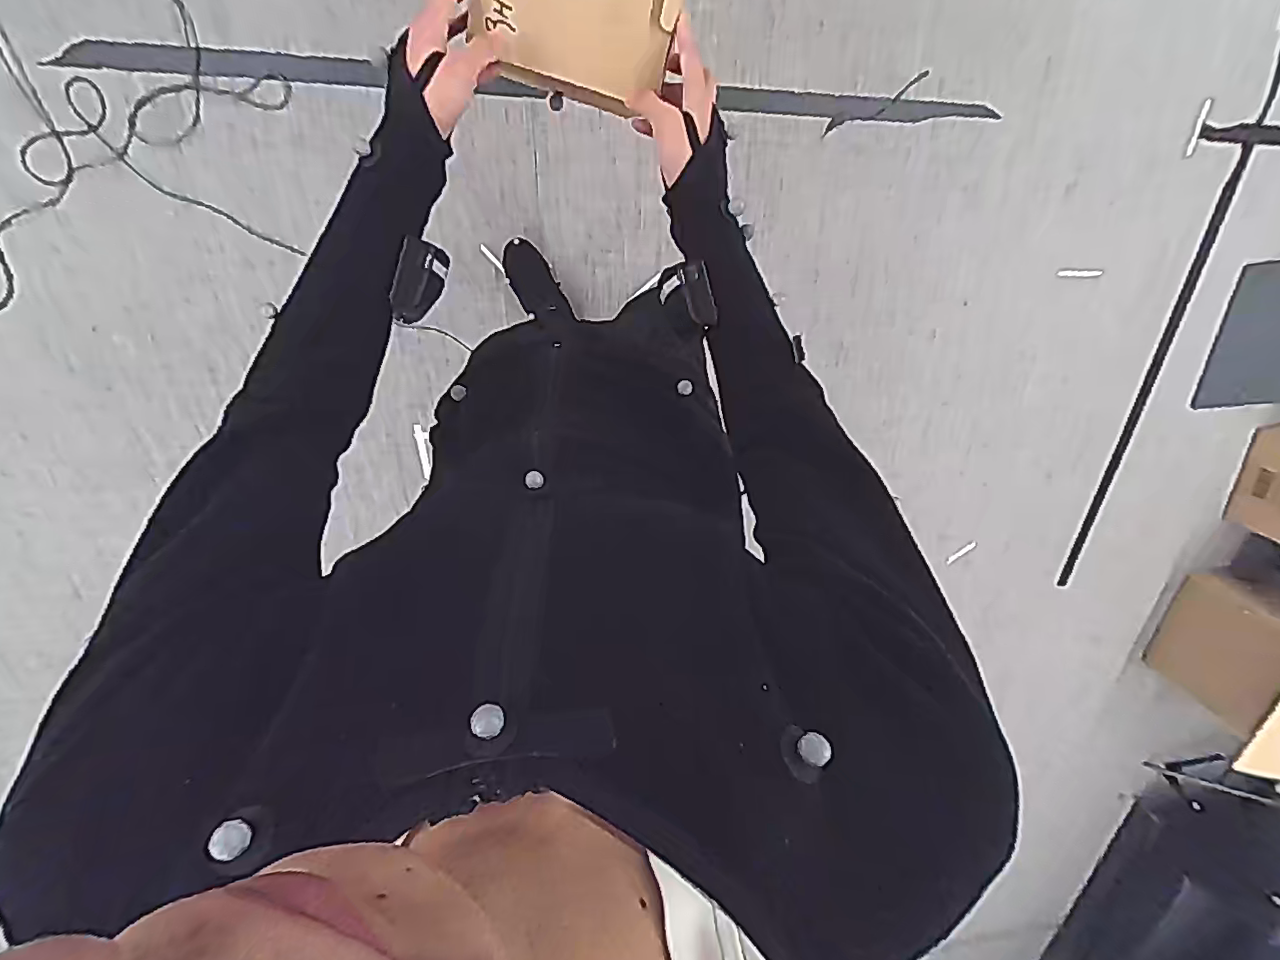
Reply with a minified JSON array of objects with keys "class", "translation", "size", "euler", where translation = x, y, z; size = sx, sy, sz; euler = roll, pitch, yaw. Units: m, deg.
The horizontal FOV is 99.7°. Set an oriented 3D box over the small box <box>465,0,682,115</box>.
[{"class":"small box","translation":[-0.061,-0.468,0.511],"size":[0.179,0.176,0.168],"euler":[8,120,-18]}]
